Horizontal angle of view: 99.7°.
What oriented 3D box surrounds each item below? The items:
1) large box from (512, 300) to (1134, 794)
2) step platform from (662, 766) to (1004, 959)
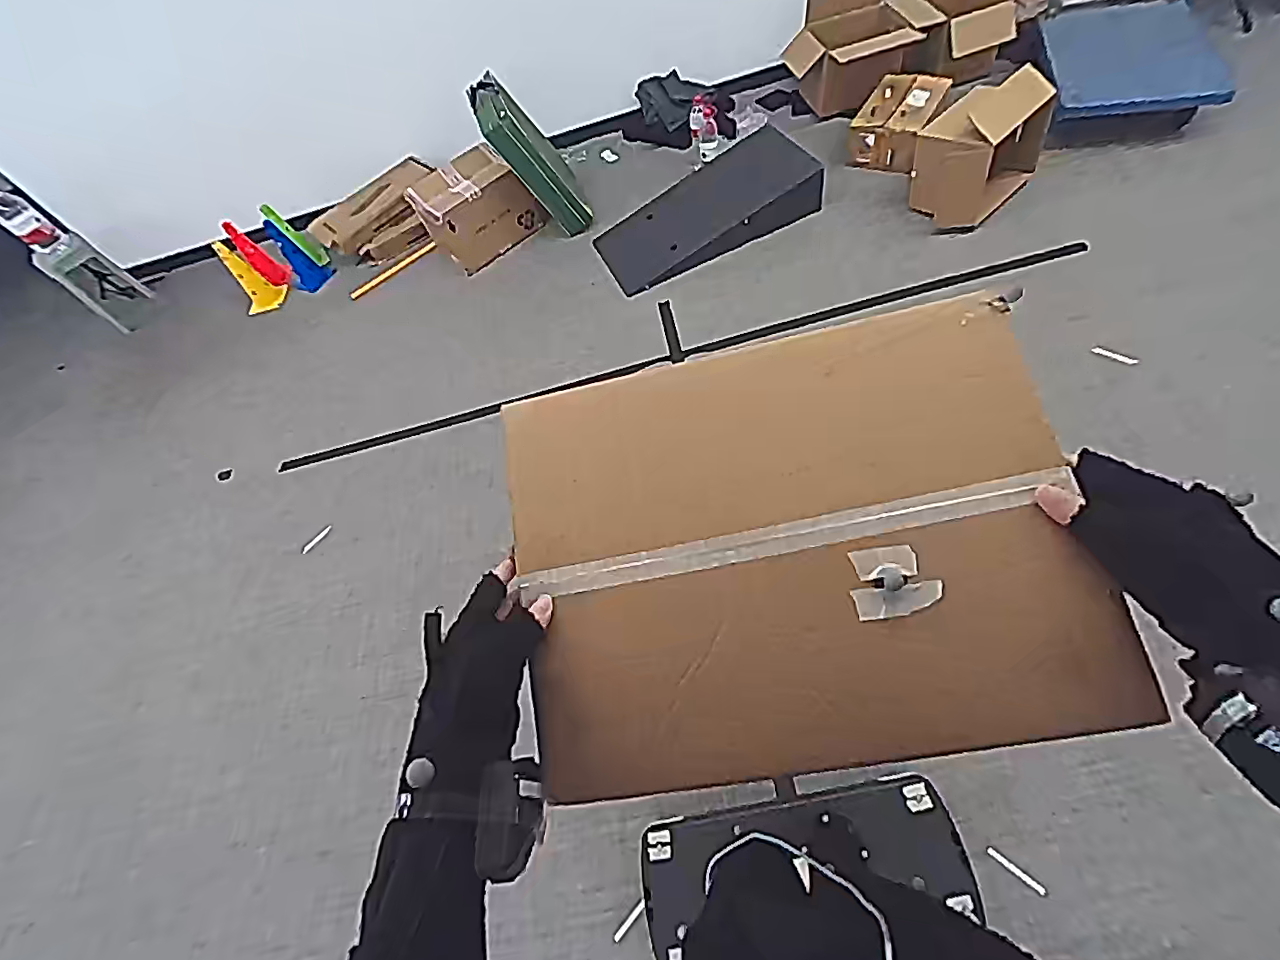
[{"bbox_3d":[0.129,0.080,0.556,0.408,0.320,0.320,-13,75,7],"label":"large box"},{"bbox_3d":[0.391,0.851,1.194,0.684,0.204,0.286,-15,57,4],"label":"step platform"}]
